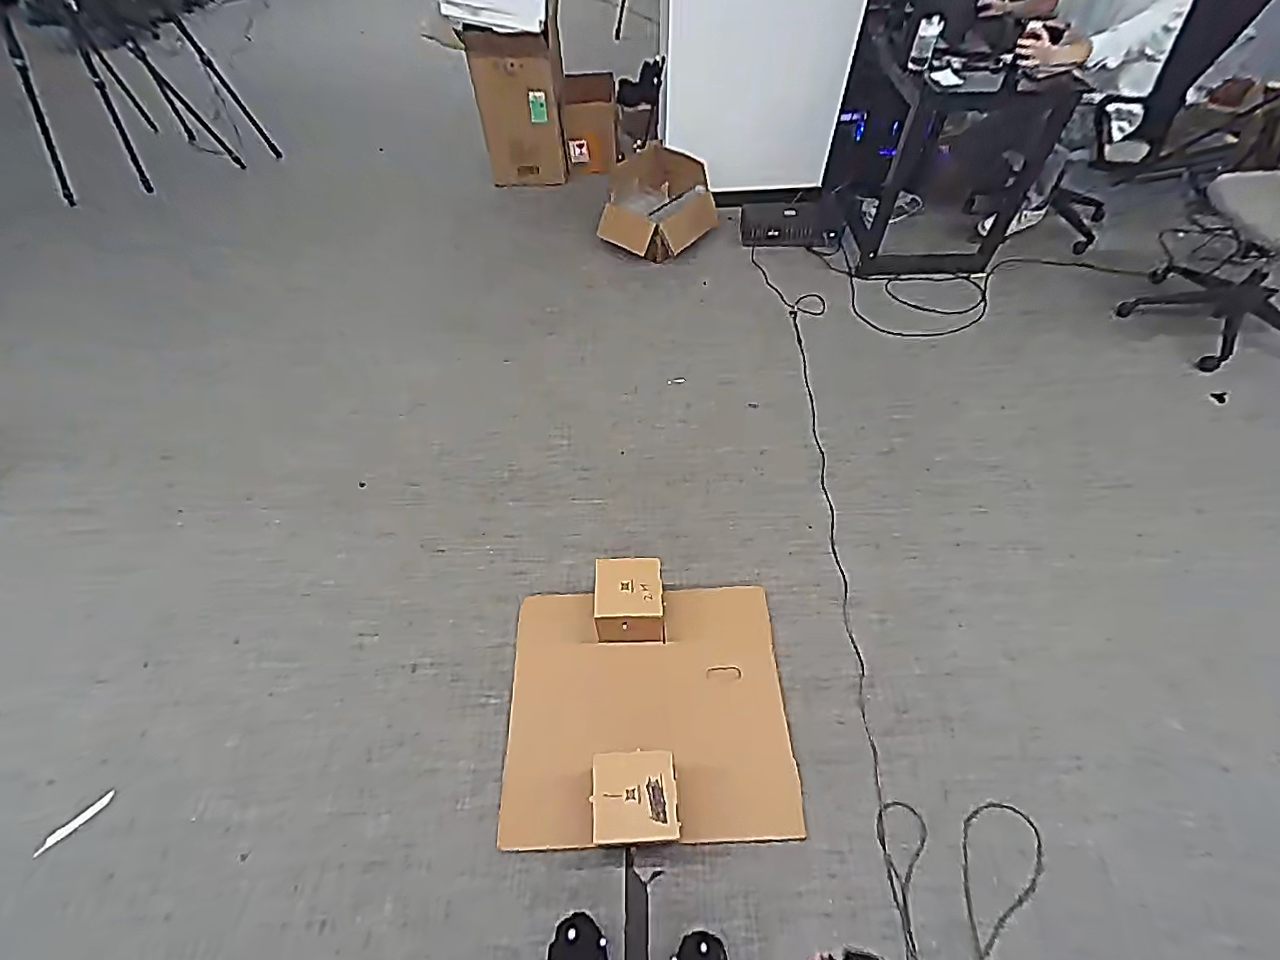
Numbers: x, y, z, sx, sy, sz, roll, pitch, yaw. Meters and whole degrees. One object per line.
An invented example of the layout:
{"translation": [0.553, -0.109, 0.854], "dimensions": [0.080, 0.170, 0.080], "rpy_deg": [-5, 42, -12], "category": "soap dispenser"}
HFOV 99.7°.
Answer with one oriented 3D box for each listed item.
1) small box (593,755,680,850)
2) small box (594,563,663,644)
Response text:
{"translation": [-0.010, 0.709, 1.187], "dimensions": [0.179, 0.176, 0.168], "rpy_deg": [-3, 54, -1], "category": "small box"}
{"translation": [-0.026, 0.336, 1.461], "dimensions": [0.179, 0.176, 0.168], "rpy_deg": [0, 54, 0], "category": "small box"}
